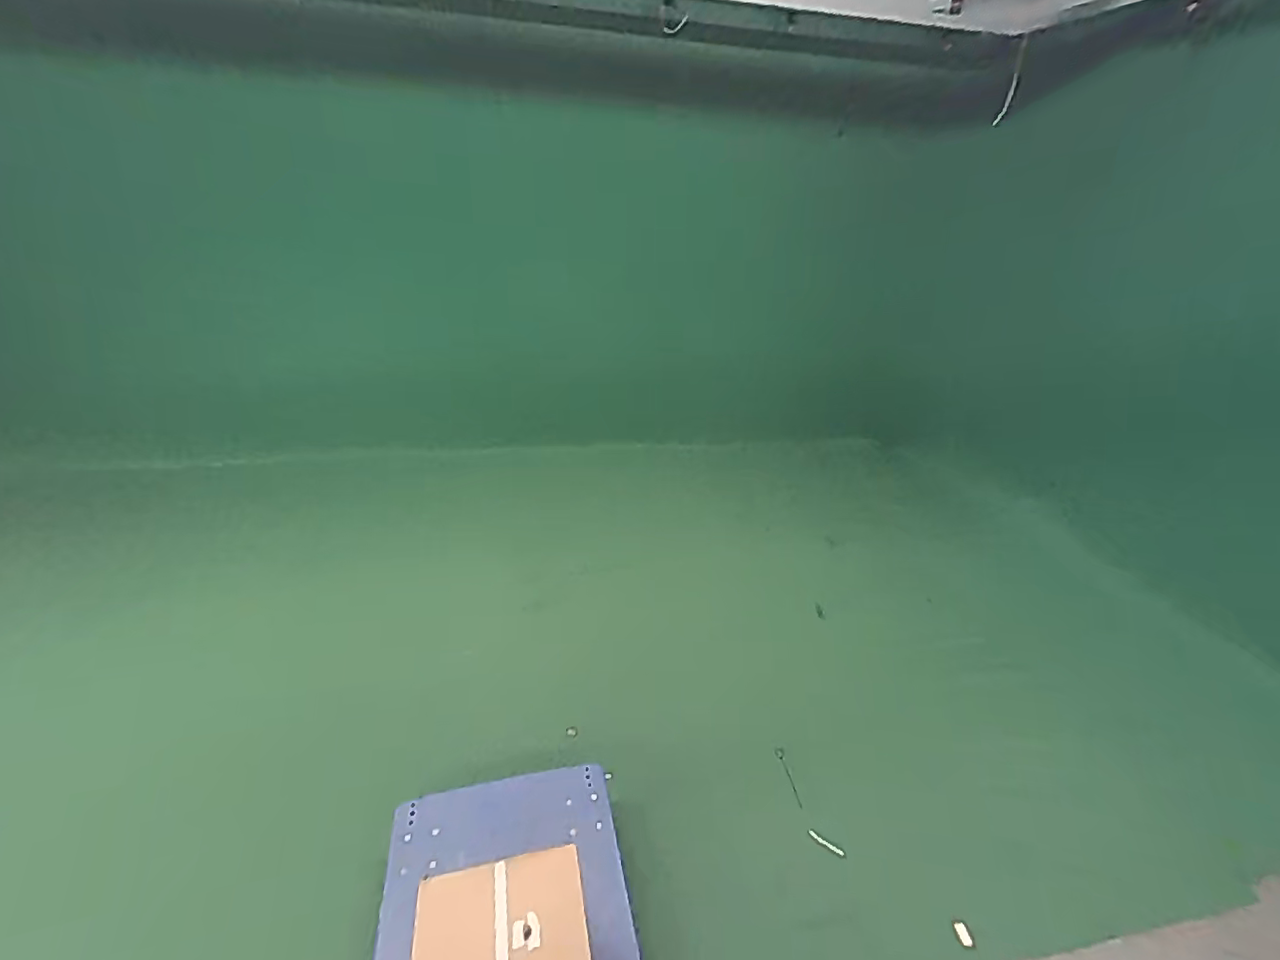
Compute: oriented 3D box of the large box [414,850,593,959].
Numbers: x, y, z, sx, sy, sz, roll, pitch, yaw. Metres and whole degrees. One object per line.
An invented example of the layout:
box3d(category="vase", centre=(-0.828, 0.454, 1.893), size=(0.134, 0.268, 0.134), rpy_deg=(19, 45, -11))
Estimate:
box3d(category="large box", centre=(-0.234, 1.006, 0.991), size=(0.320, 0.320, 0.408), rpy_deg=(-5, 28, -13))
